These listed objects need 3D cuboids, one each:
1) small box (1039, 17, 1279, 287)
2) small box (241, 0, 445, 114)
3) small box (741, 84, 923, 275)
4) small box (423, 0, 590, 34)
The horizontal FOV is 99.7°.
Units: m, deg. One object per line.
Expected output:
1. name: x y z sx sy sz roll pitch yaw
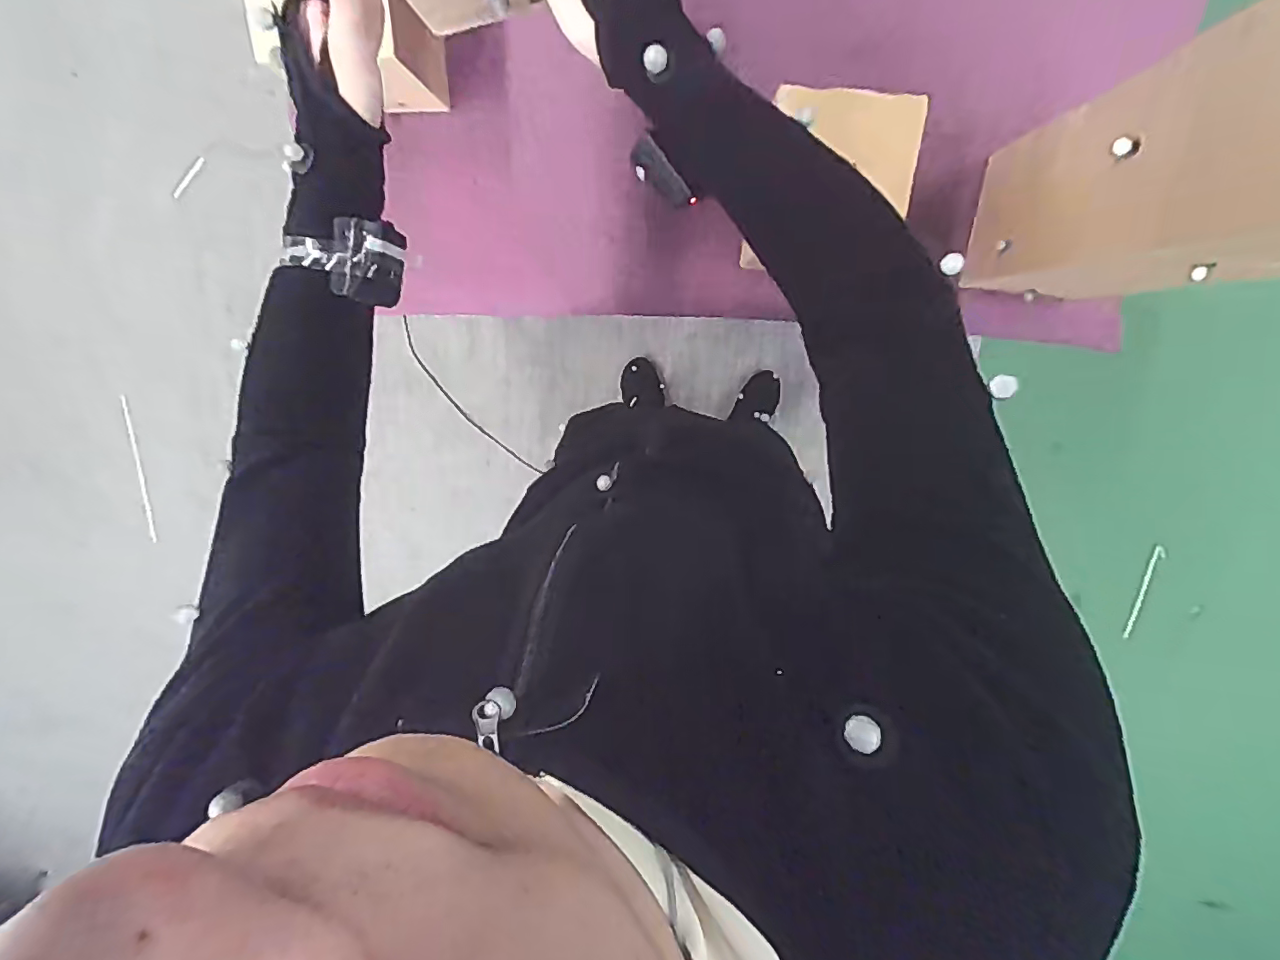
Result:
1. small box: 0.538 -0.296 0.527 0.168 0.176 0.179 7 105 2
2. small box: -0.356 -0.581 0.665 0.168 0.176 0.179 1 107 3
3. small box: 0.229 -0.369 0.696 0.168 0.176 0.179 5 104 2
4. small box: -0.128 -0.490 0.407 0.168 0.176 0.179 -11 110 5
